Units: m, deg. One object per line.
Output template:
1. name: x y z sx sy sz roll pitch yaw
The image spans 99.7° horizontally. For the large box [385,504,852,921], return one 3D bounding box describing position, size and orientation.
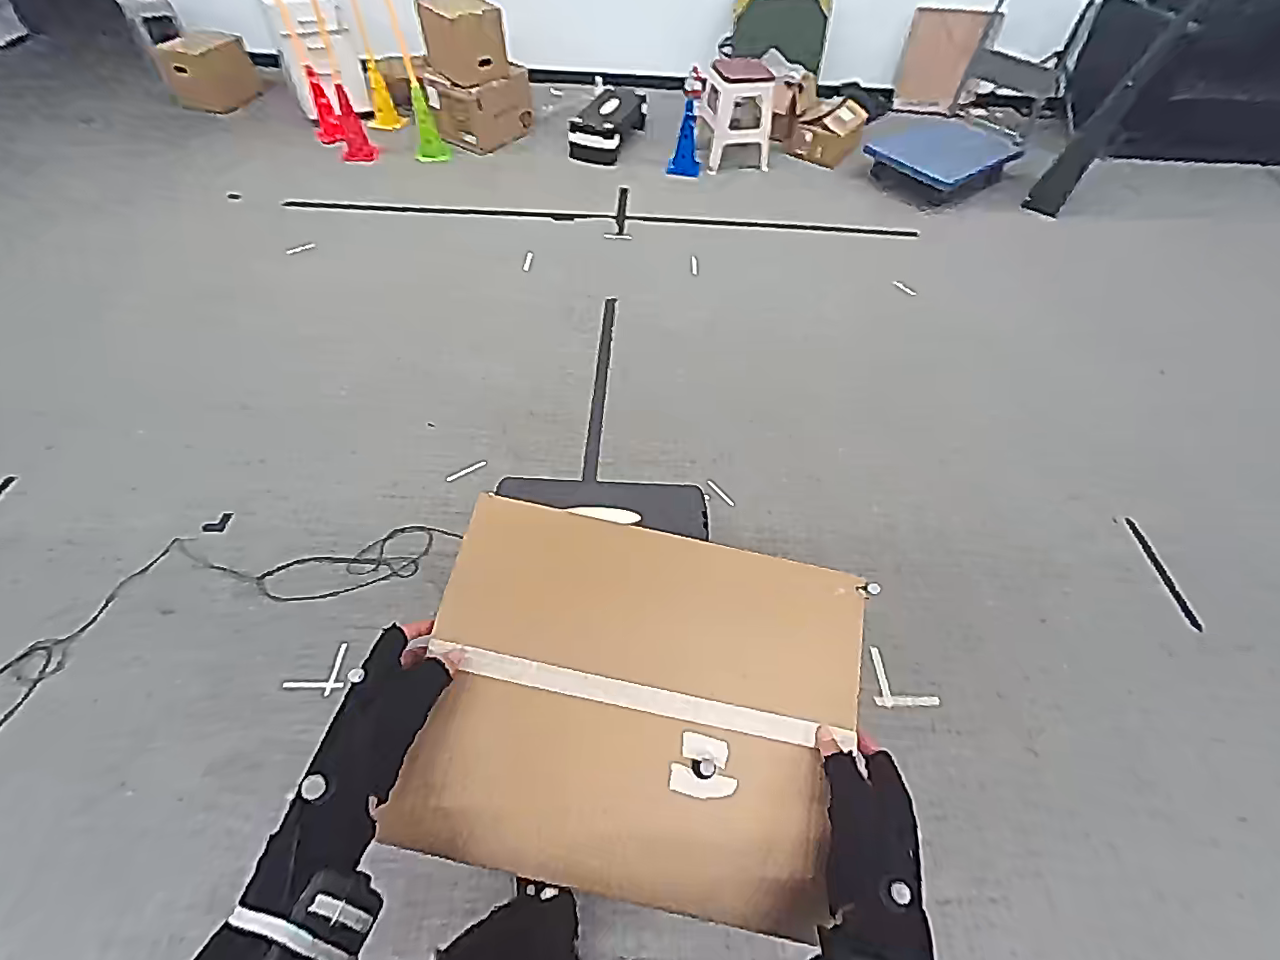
1. large box: -0.011 0.252 0.652 0.408 0.320 0.320 12 70 0
